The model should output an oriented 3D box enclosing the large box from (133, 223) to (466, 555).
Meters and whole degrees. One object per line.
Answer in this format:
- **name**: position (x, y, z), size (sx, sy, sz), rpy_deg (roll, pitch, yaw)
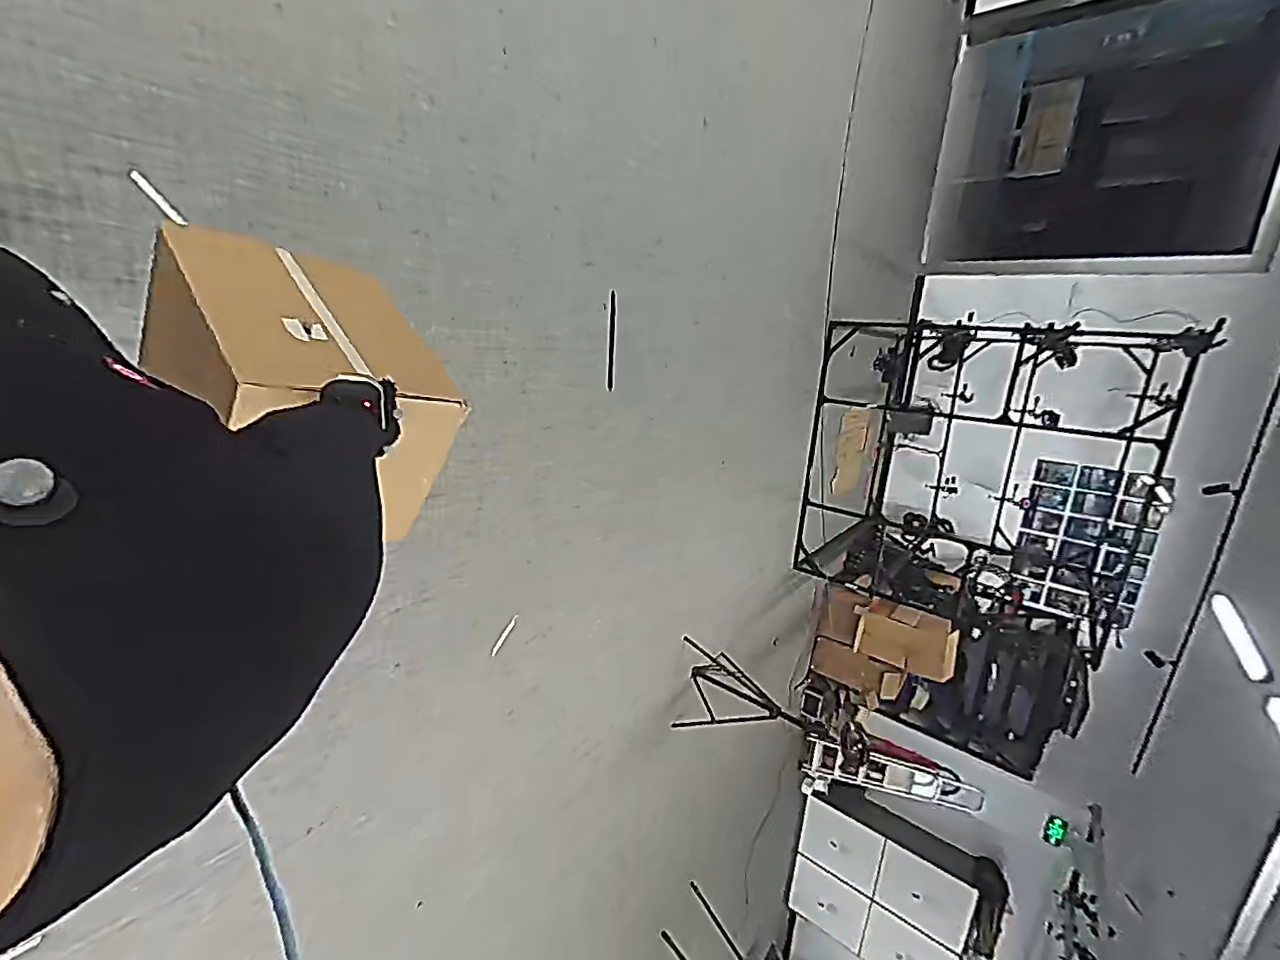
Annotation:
- **large box**: position (-0.570, -0.139, 0.894), size (0.320, 0.408, 0.320), rpy_deg (-4, 135, -53)
